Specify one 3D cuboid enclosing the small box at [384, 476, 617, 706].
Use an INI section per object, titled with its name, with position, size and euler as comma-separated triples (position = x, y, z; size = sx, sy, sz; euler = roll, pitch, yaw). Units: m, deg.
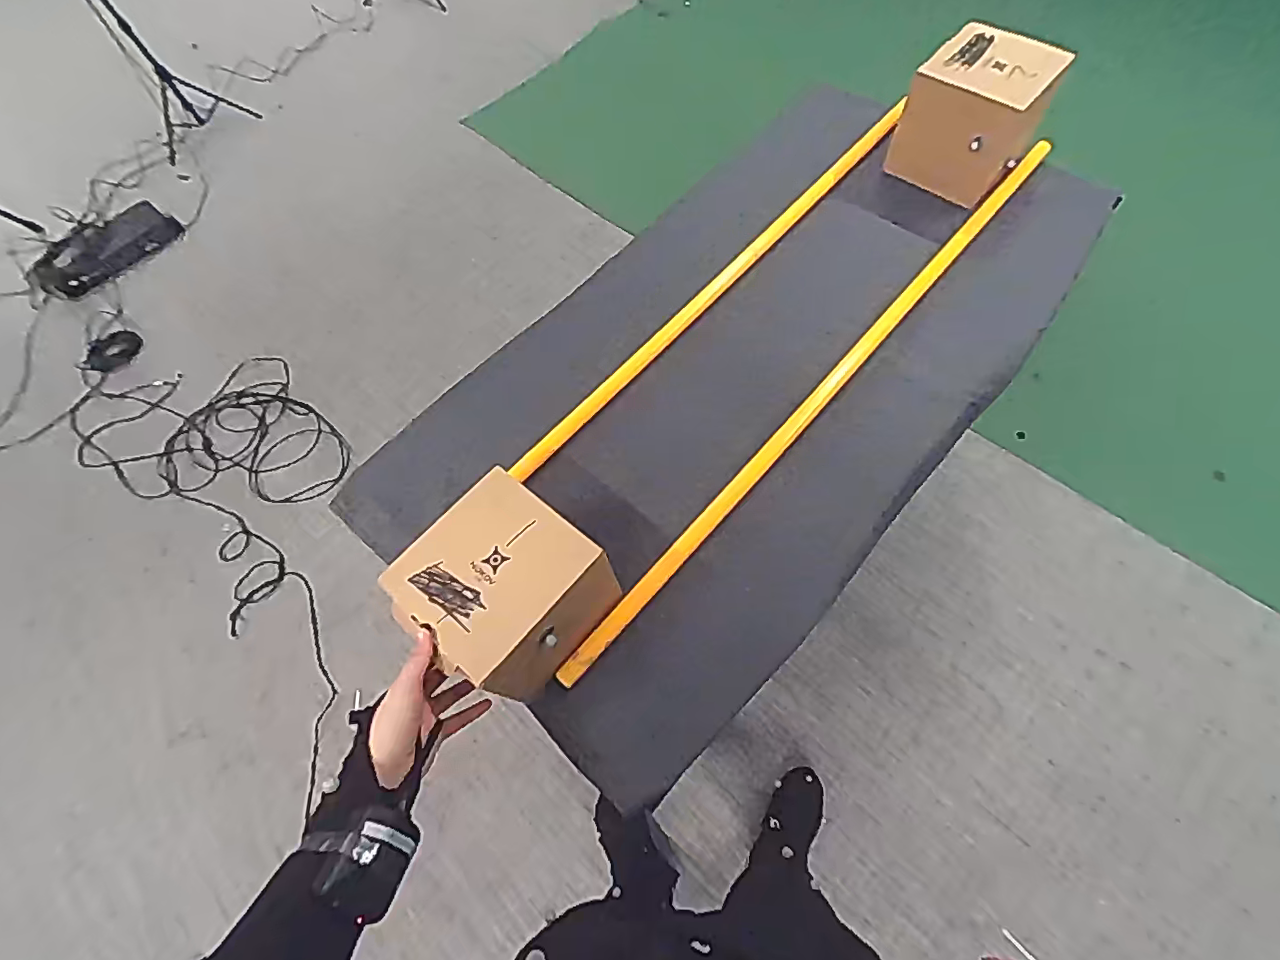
[small box]
position = -0.143, 0.135, 0.622
size = 0.168, 0.176, 0.179
euler = 36, 70, 21
